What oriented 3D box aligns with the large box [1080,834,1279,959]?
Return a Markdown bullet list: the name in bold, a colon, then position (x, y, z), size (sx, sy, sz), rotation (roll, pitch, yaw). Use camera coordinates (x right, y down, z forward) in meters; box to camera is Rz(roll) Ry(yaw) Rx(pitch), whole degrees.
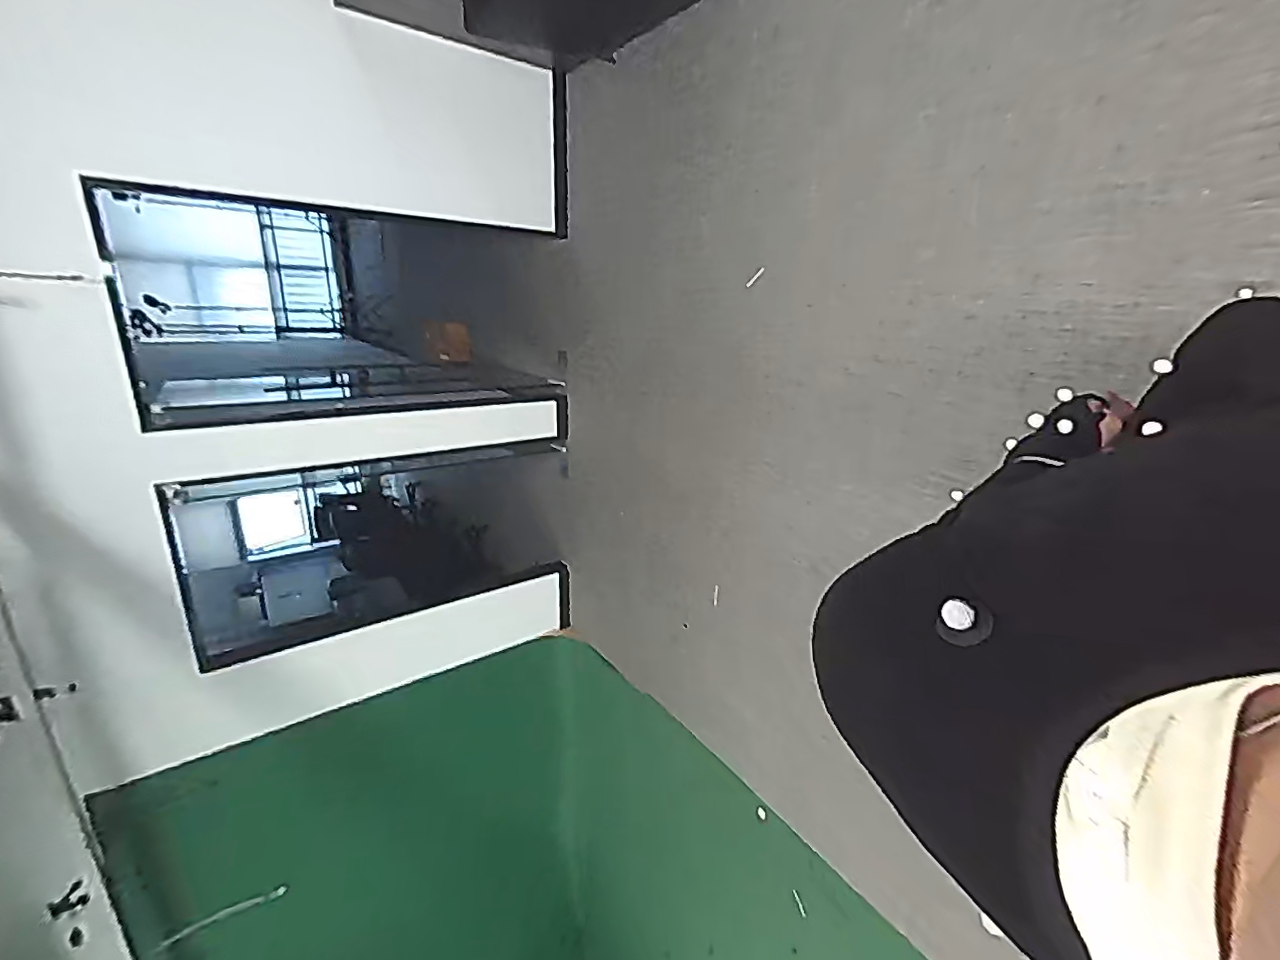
- **large box**: position (1.267, 1.104, 1.178), size (0.408, 0.320, 0.320), rotation (23, 116, 51)
